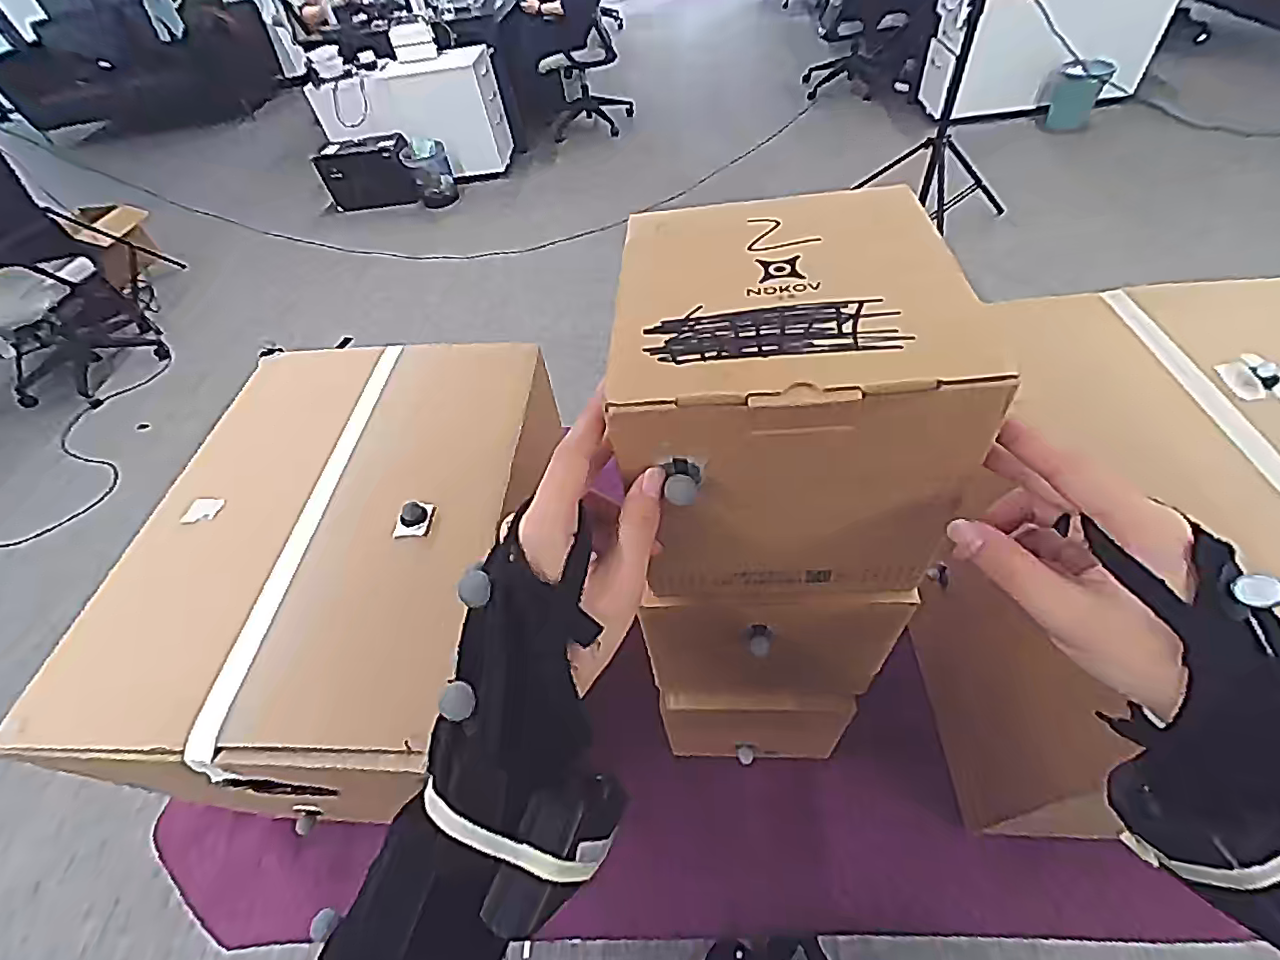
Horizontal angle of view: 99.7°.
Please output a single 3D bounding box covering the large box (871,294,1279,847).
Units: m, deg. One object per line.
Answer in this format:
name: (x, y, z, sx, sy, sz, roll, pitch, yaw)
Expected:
large box: (0.446, 0.084, 0.505, 0.320, 0.320, 0.408, -3, 49, 6)
